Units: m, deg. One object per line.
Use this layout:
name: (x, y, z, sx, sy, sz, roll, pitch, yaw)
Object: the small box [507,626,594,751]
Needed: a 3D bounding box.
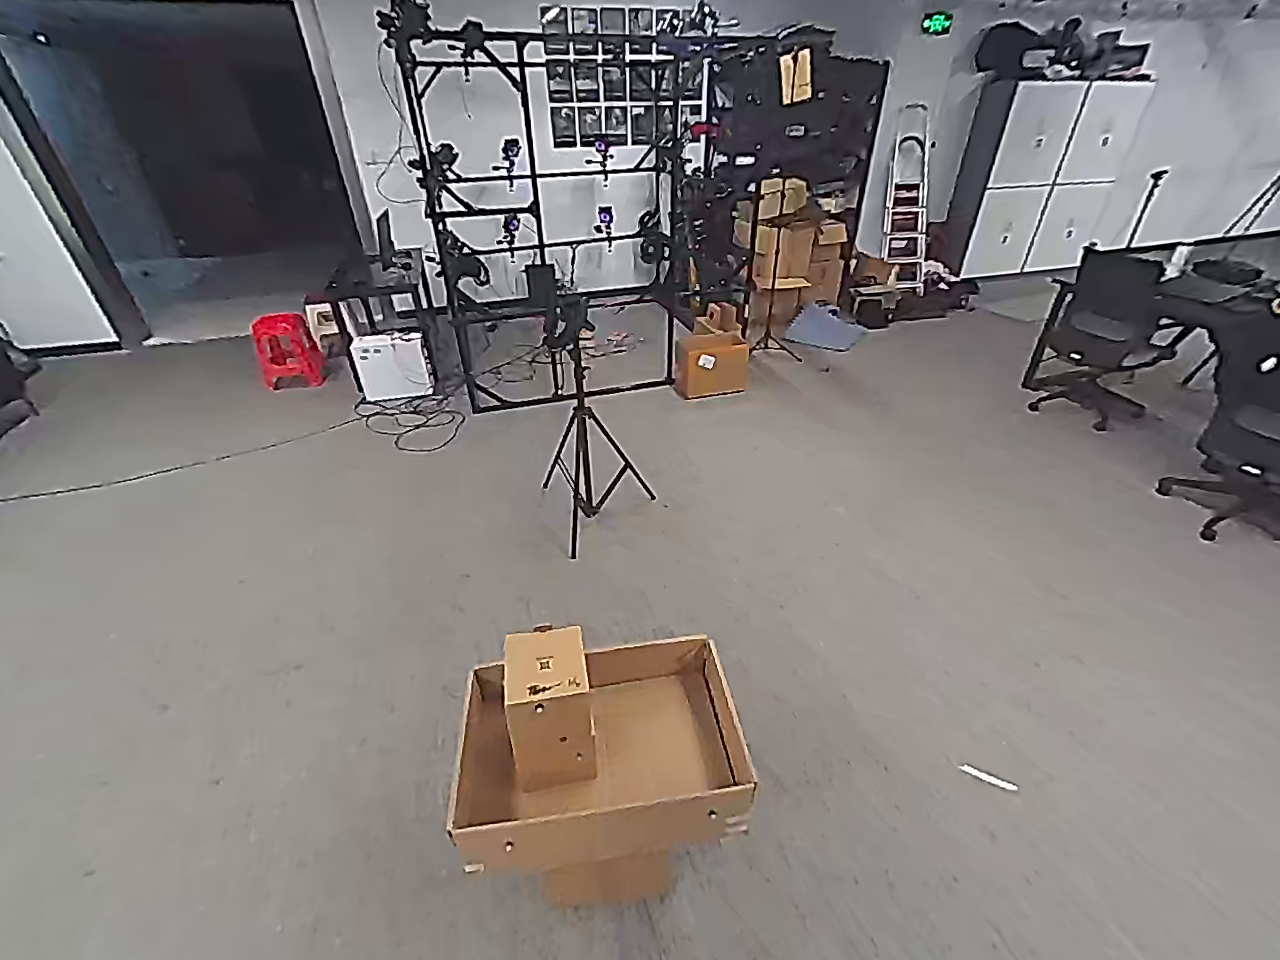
small box: (-0.190, 0.442, 1.155, 0.168, 0.176, 0.179, -6, 33, -9)
